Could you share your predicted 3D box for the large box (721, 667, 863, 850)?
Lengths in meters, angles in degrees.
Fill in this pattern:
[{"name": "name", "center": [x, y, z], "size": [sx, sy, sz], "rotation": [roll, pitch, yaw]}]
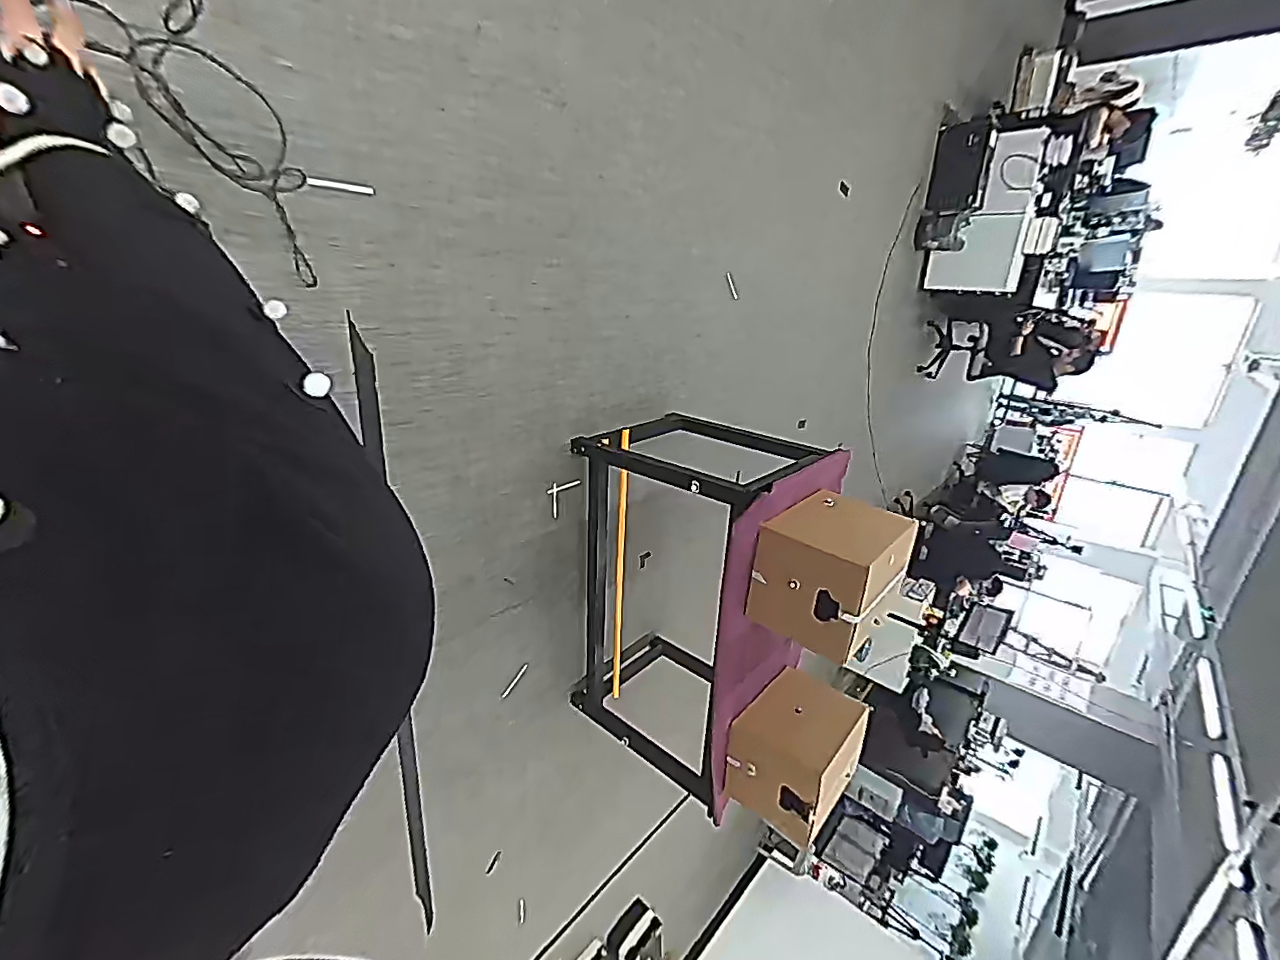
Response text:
[{"name": "large box", "center": [0.517, 0.919, 1.847], "size": [0.408, 0.320, 0.320], "rotation": [-20, 121, -46]}]
